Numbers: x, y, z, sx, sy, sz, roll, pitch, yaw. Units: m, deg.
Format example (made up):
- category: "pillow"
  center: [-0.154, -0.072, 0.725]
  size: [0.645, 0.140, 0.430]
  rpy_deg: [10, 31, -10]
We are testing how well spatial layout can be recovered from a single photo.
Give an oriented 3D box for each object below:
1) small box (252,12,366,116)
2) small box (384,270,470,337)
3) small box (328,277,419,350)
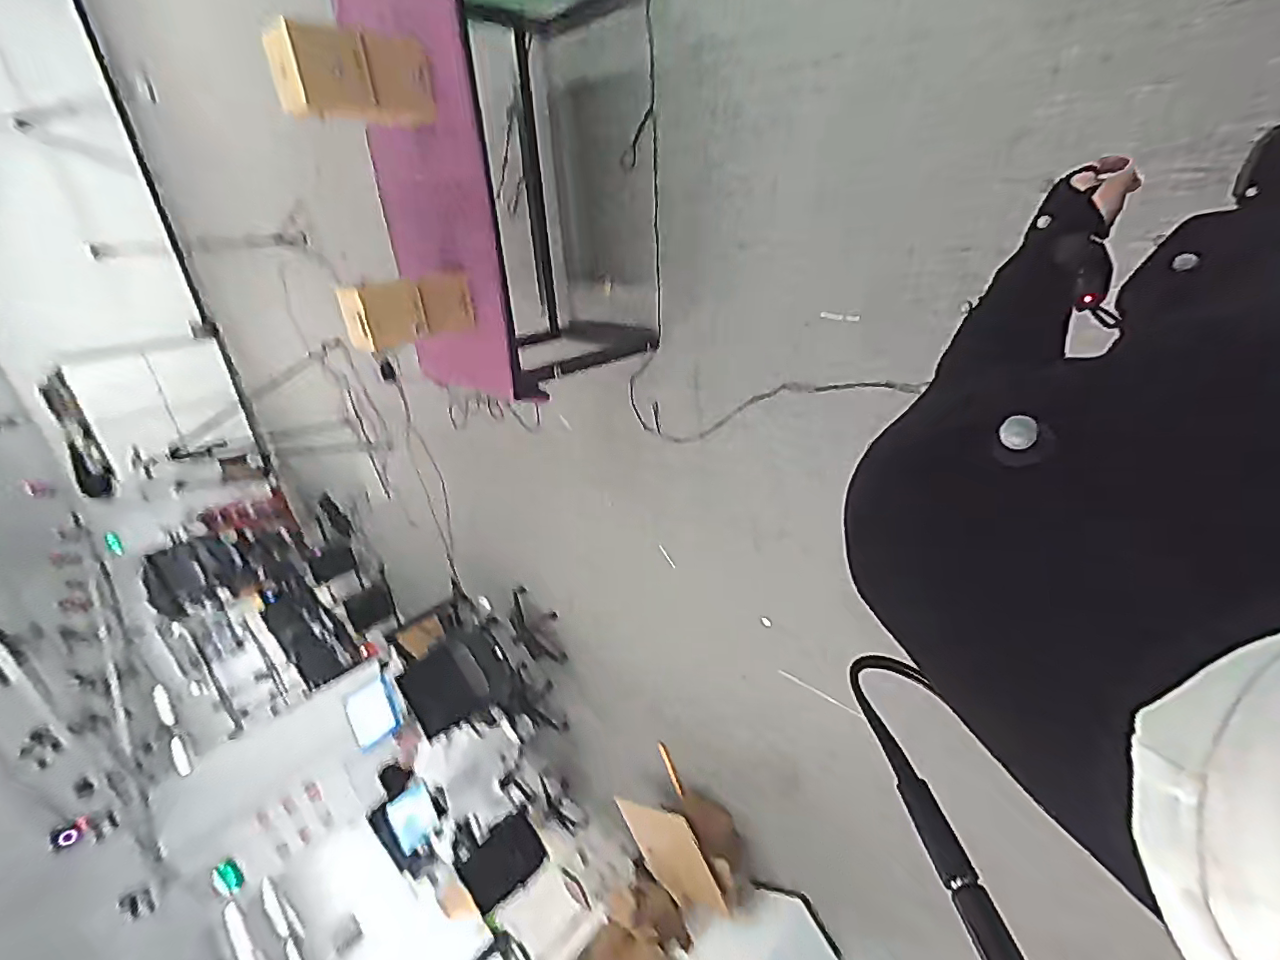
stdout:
- category: "small box"
  center: [-0.781, -0.985, 1.294]
  size: [0.179, 0.176, 0.168]
  rpy_deg: [21, 125, 38]
- category: "small box"
  center: [-0.650, -0.545, 1.657]
  size: [0.179, 0.176, 0.168]
  rpy_deg: [20, 125, 38]
- category: "small box"
  center: [-0.754, -0.482, 1.548]
  size: [0.179, 0.176, 0.168]
  rpy_deg: [21, 126, 40]
